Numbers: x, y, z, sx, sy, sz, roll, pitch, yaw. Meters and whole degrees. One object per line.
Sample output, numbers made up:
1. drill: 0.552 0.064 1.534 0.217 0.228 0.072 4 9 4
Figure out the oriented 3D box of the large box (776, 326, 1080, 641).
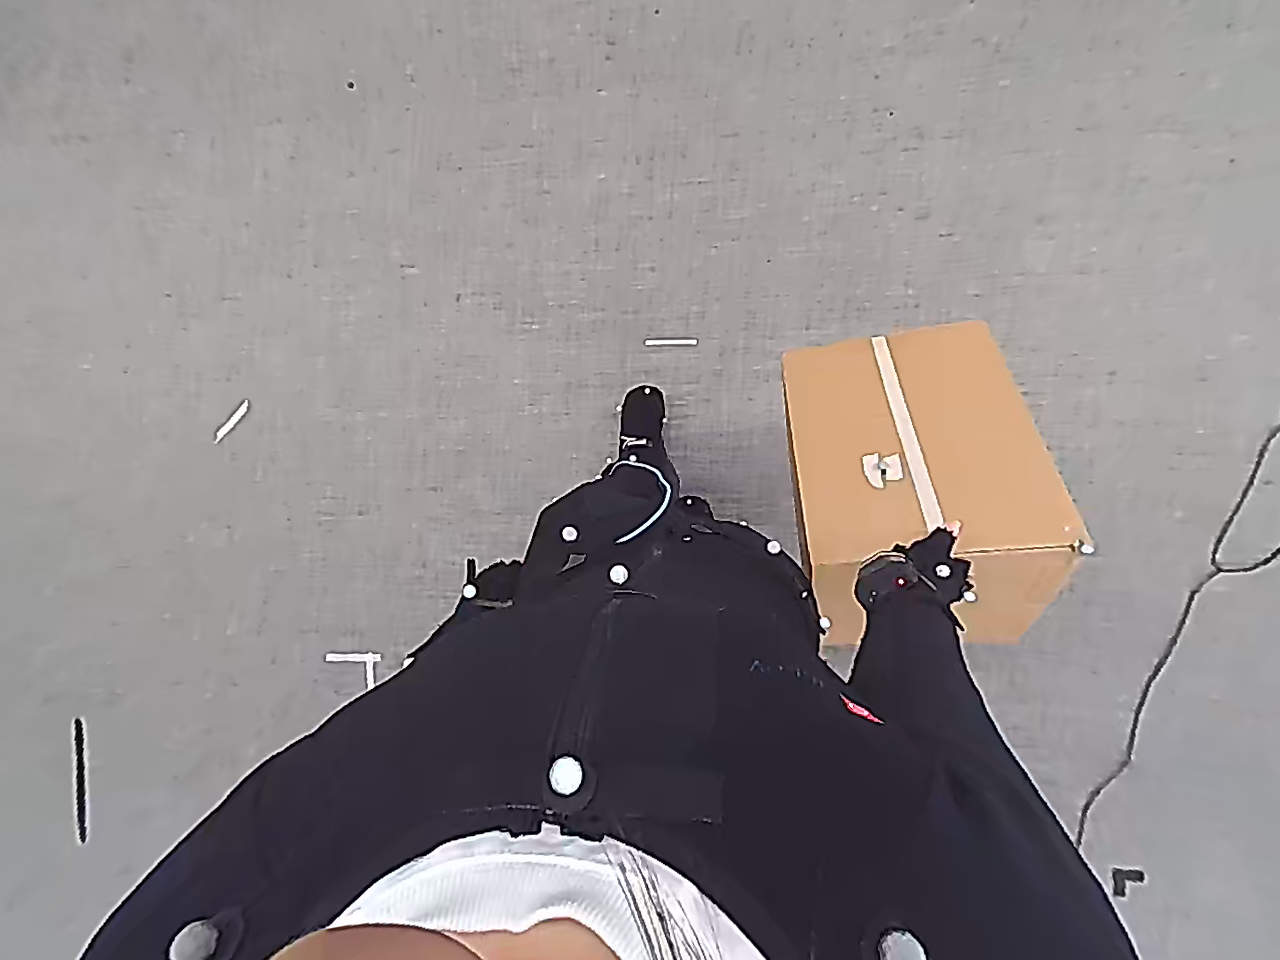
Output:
1. large box: 0.413 0.017 0.893 0.320 0.320 0.408 -7 54 15
